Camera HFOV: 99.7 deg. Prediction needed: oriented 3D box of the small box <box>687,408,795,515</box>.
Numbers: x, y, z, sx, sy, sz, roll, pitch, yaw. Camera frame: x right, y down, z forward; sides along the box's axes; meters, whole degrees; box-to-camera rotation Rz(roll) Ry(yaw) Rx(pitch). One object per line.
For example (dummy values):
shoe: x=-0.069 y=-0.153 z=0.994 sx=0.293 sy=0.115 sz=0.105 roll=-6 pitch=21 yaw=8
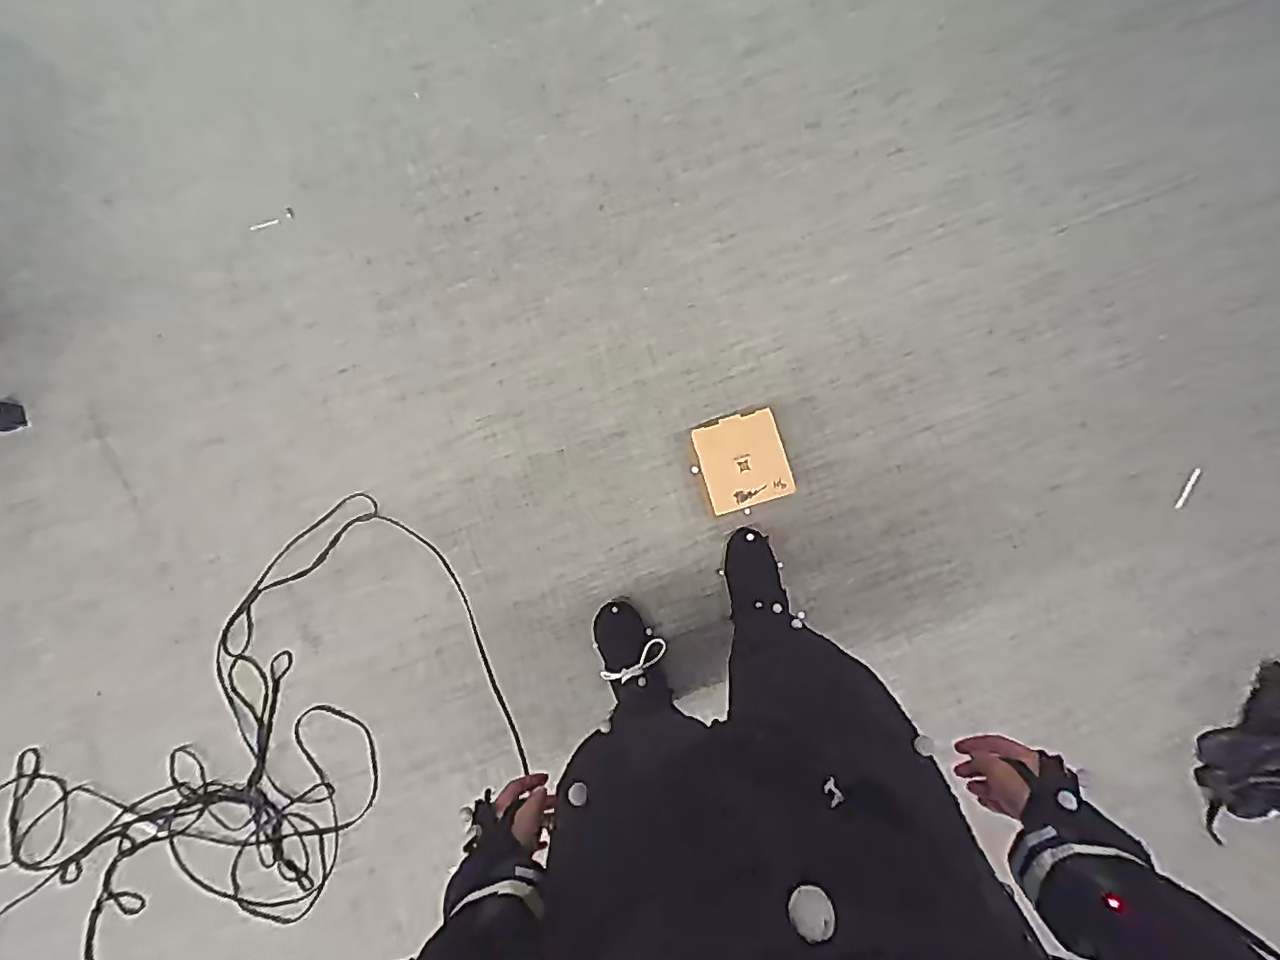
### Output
small box: x=0.199 y=-0.031 z=1.126 sx=0.168 sy=0.176 sz=0.179 roll=-17 pitch=86 yaw=1
